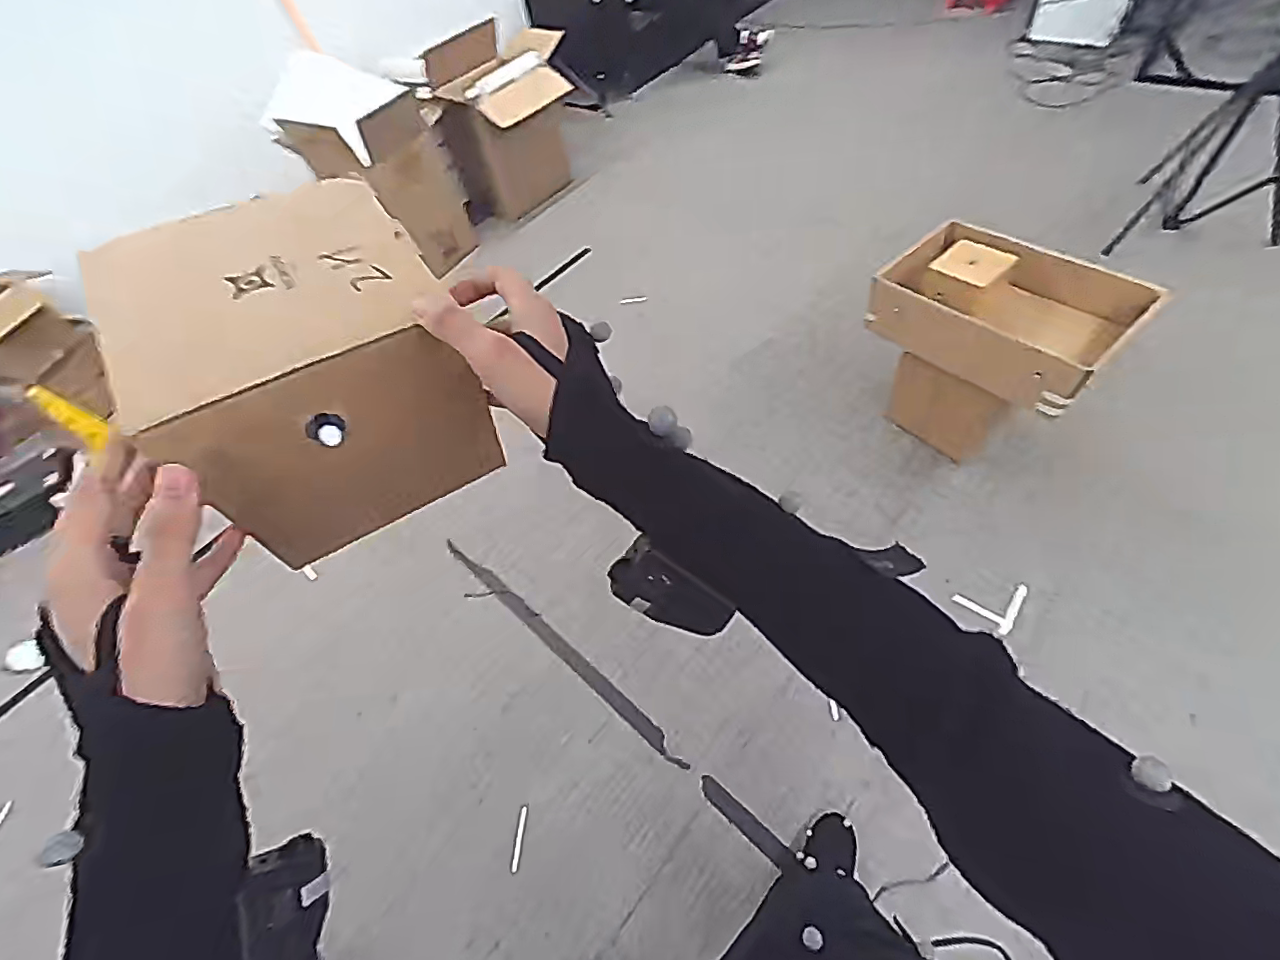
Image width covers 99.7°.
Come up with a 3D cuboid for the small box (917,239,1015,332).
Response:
[{"bbox_3d":[0.945,-0.567,1.587,0.179,0.176,0.168,-39,57,-18],"label":"small box"}]
